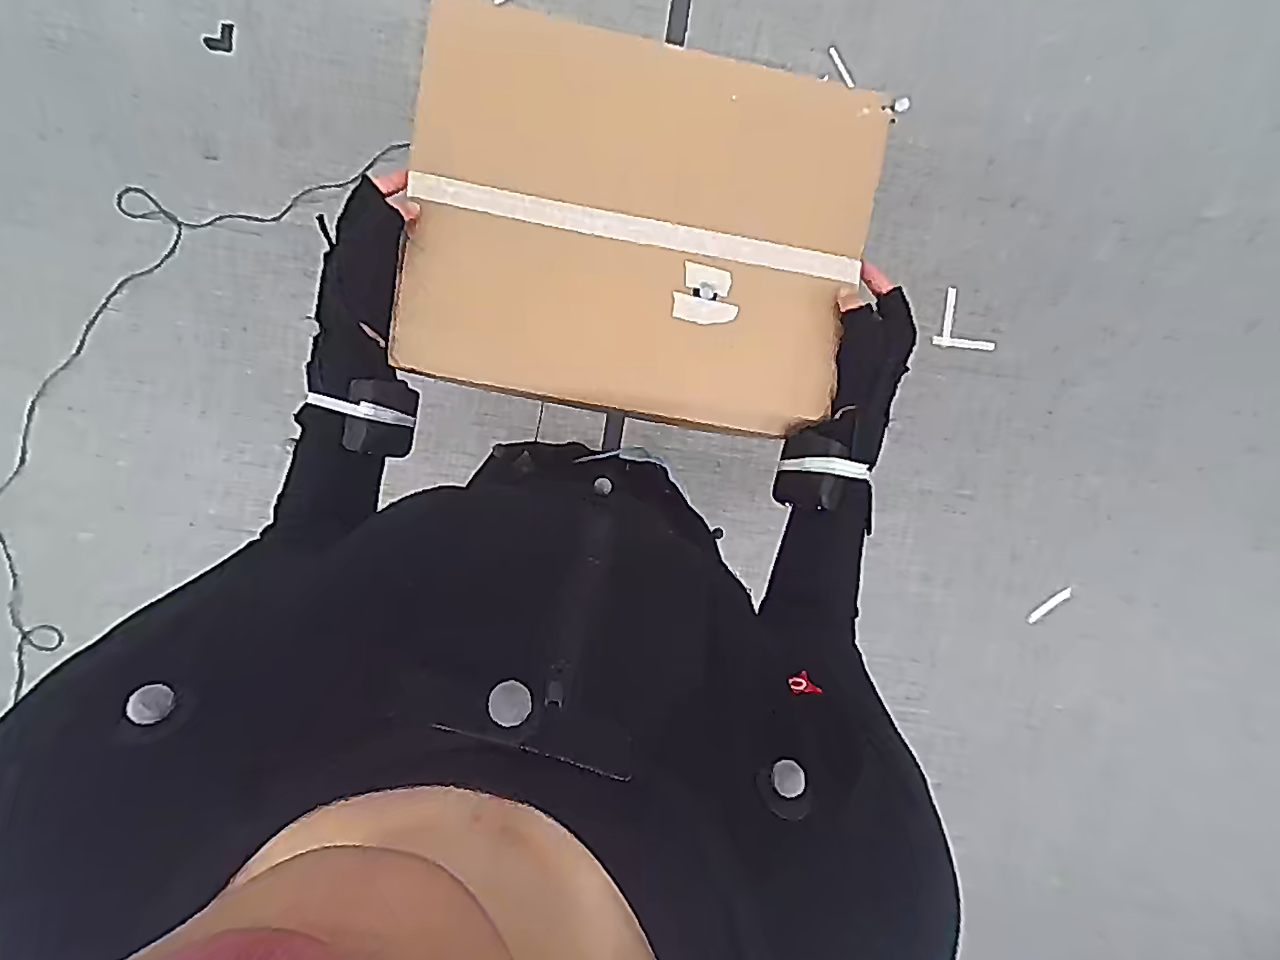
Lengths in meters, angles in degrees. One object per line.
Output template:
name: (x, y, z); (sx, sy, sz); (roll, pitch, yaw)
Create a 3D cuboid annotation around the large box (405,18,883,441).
large box: (-0.008, -0.233, 0.639); (0.408, 0.320, 0.320); (10, 96, -5)
